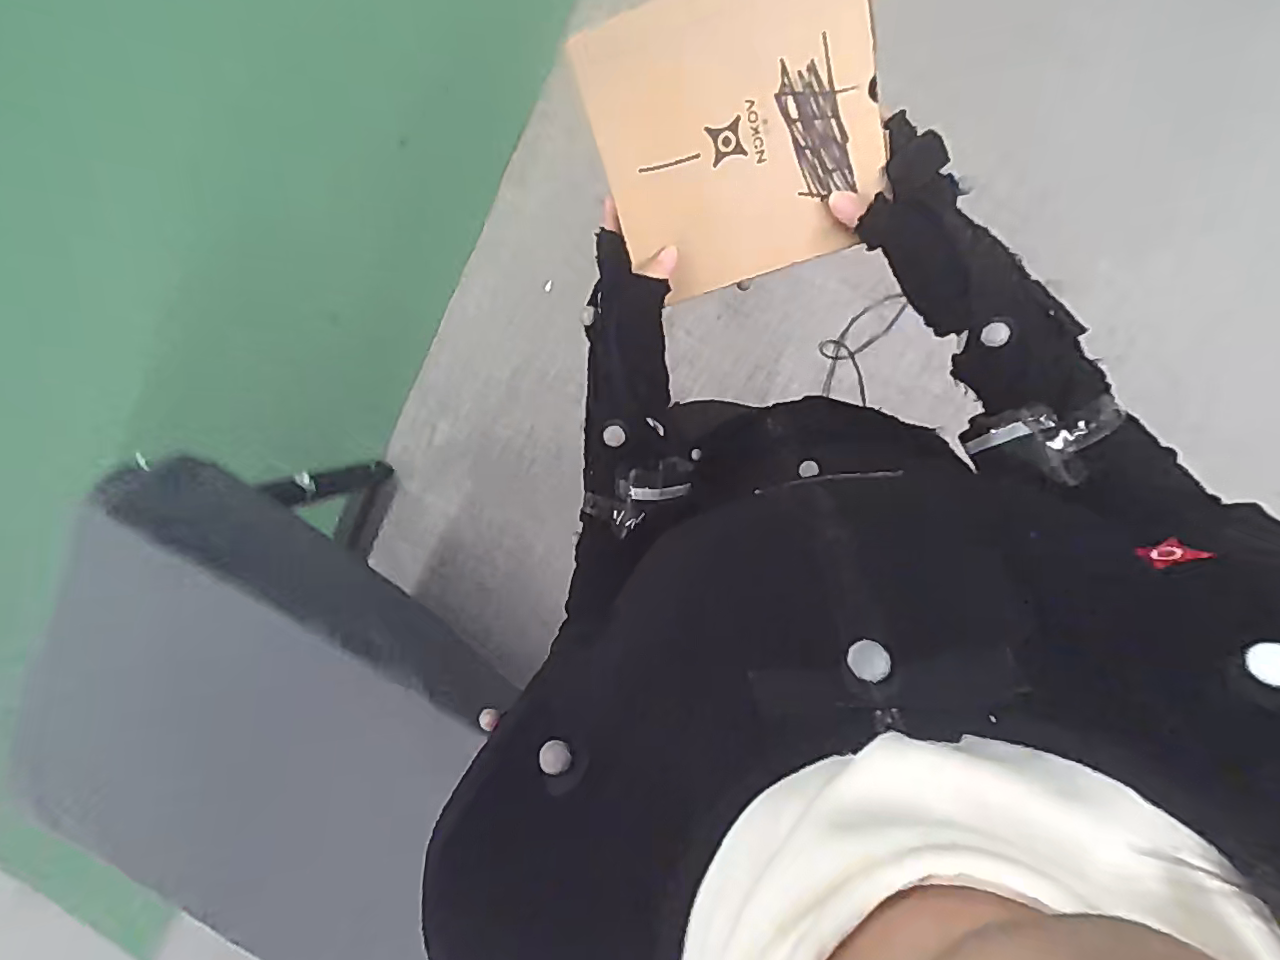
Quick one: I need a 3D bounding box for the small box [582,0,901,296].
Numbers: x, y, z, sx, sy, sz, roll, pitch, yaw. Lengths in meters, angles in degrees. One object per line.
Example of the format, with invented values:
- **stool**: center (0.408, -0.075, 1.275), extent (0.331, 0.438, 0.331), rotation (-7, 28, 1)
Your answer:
- **small box**: center (0.071, -0.254, 0.408), extent (0.179, 0.176, 0.168), rotation (-14, 114, 9)
